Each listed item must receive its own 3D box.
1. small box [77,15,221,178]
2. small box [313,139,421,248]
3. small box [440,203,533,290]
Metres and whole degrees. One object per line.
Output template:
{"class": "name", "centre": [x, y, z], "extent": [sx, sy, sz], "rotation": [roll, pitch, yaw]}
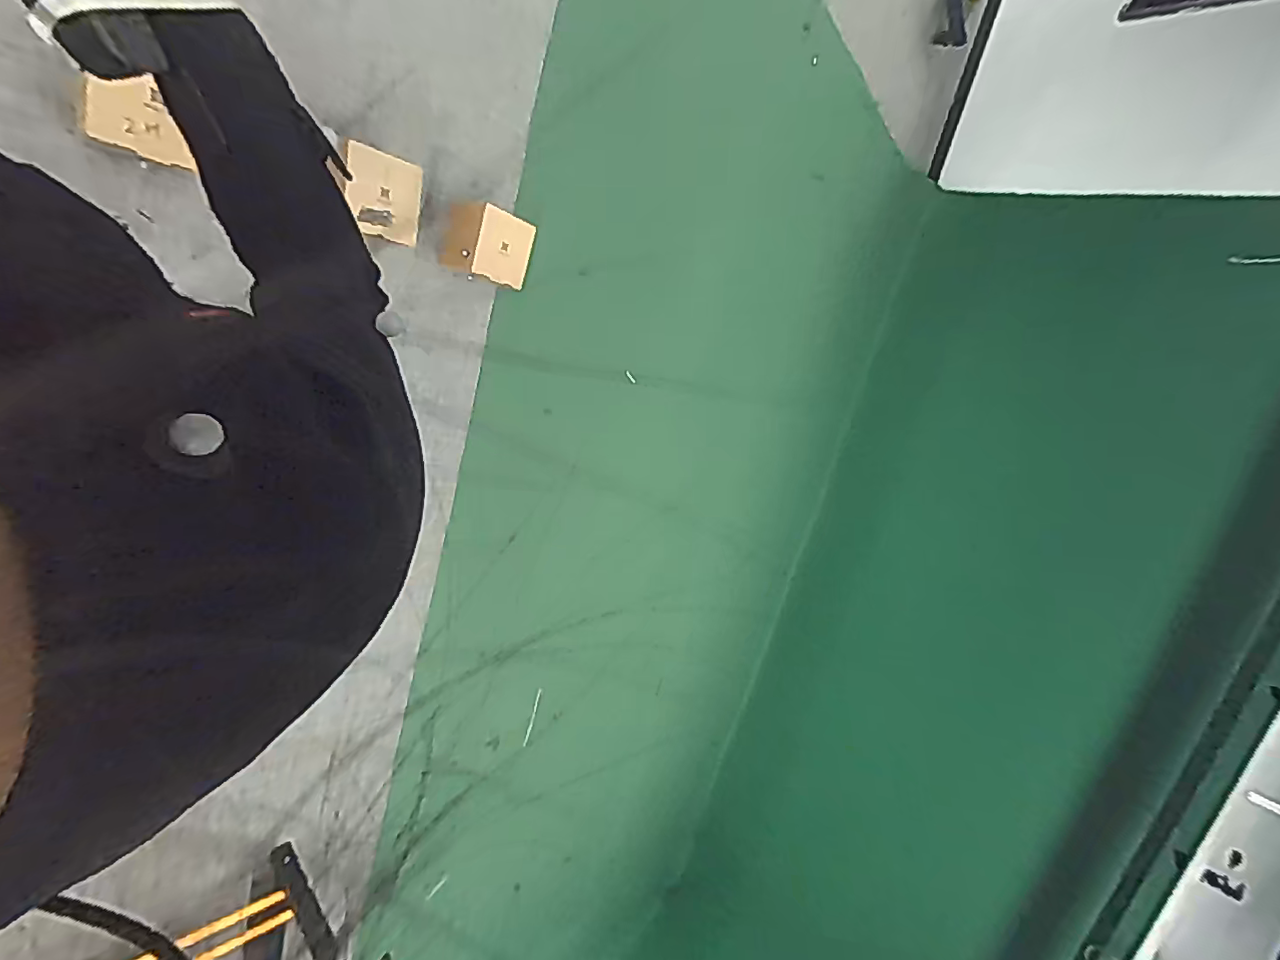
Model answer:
{"class": "small box", "centre": [-0.864, -0.655, 0.949], "extent": [0.168, 0.176, 0.179], "rotation": [-1, 111, -50]}
{"class": "small box", "centre": [-0.631, -0.652, 1.243], "extent": [0.168, 0.176, 0.179], "rotation": [-5, 113, -50]}
{"class": "small box", "centre": [-0.430, -0.647, 1.497], "extent": [0.168, 0.176, 0.179], "rotation": [3, 107, -51]}
